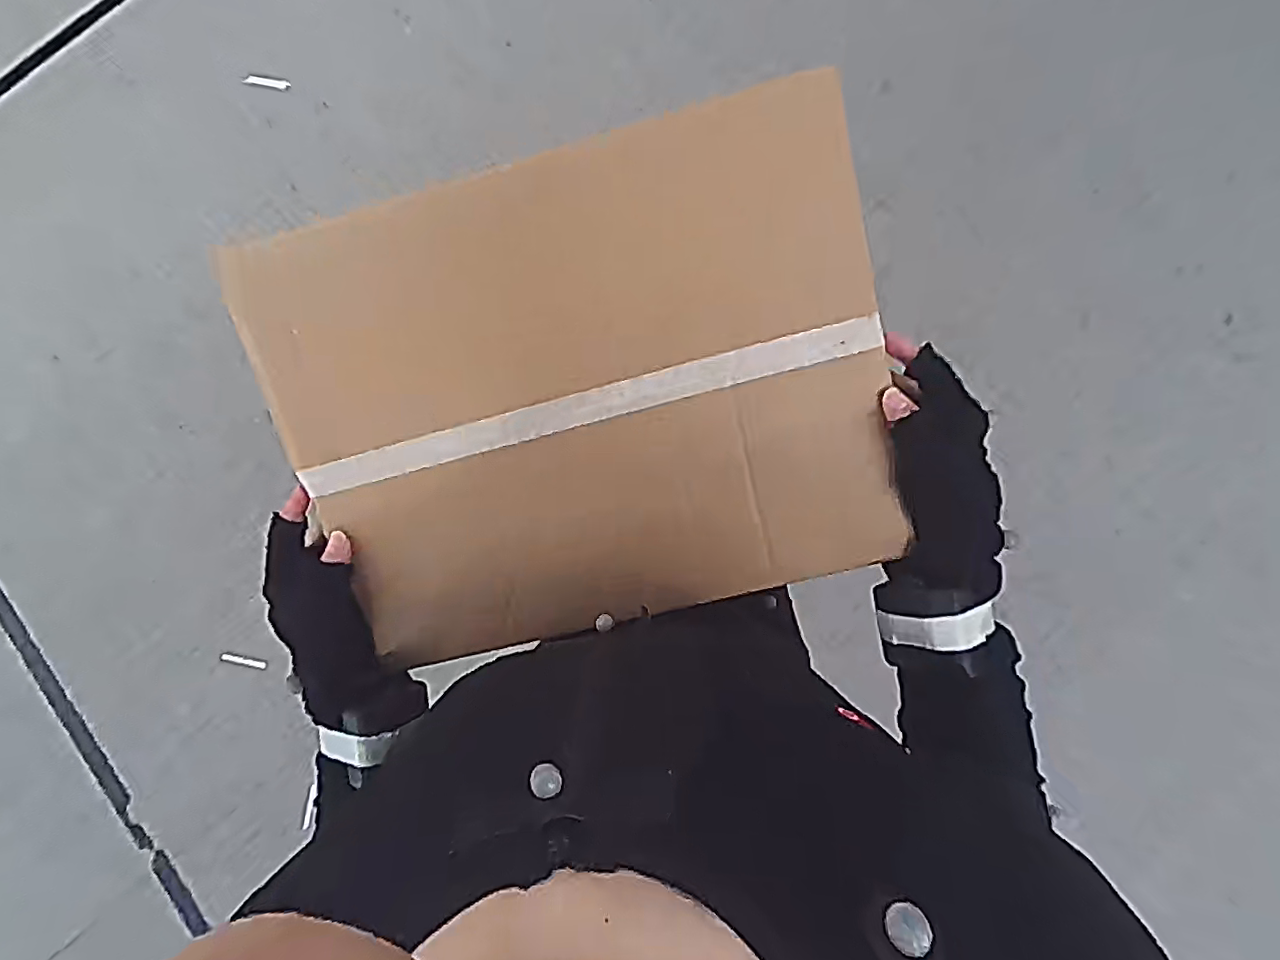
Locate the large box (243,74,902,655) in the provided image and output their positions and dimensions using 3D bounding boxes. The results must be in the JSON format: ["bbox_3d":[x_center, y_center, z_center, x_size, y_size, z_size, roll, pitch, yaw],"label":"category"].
[{"bbox_3d":[-0.036,-0.086,0.520,0.408,0.320,0.320,-14,103,5],"label":"large box"}]
